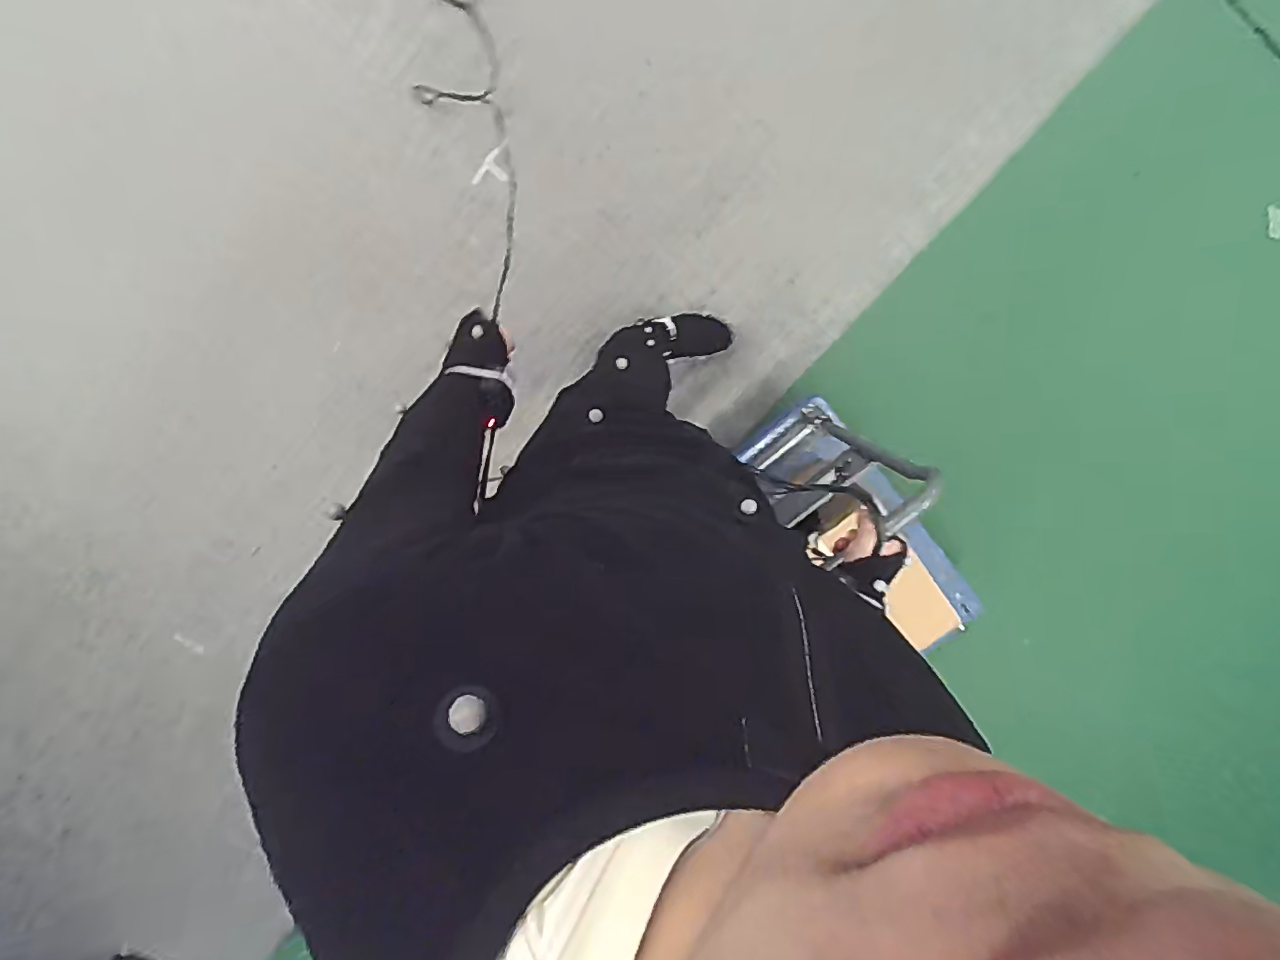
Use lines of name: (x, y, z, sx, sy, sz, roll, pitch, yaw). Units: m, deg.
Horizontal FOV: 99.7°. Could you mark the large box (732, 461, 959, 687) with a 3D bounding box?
large box: (0.497, 0.222, 1.375, 0.320, 0.320, 0.408, -37, 106, 9)
